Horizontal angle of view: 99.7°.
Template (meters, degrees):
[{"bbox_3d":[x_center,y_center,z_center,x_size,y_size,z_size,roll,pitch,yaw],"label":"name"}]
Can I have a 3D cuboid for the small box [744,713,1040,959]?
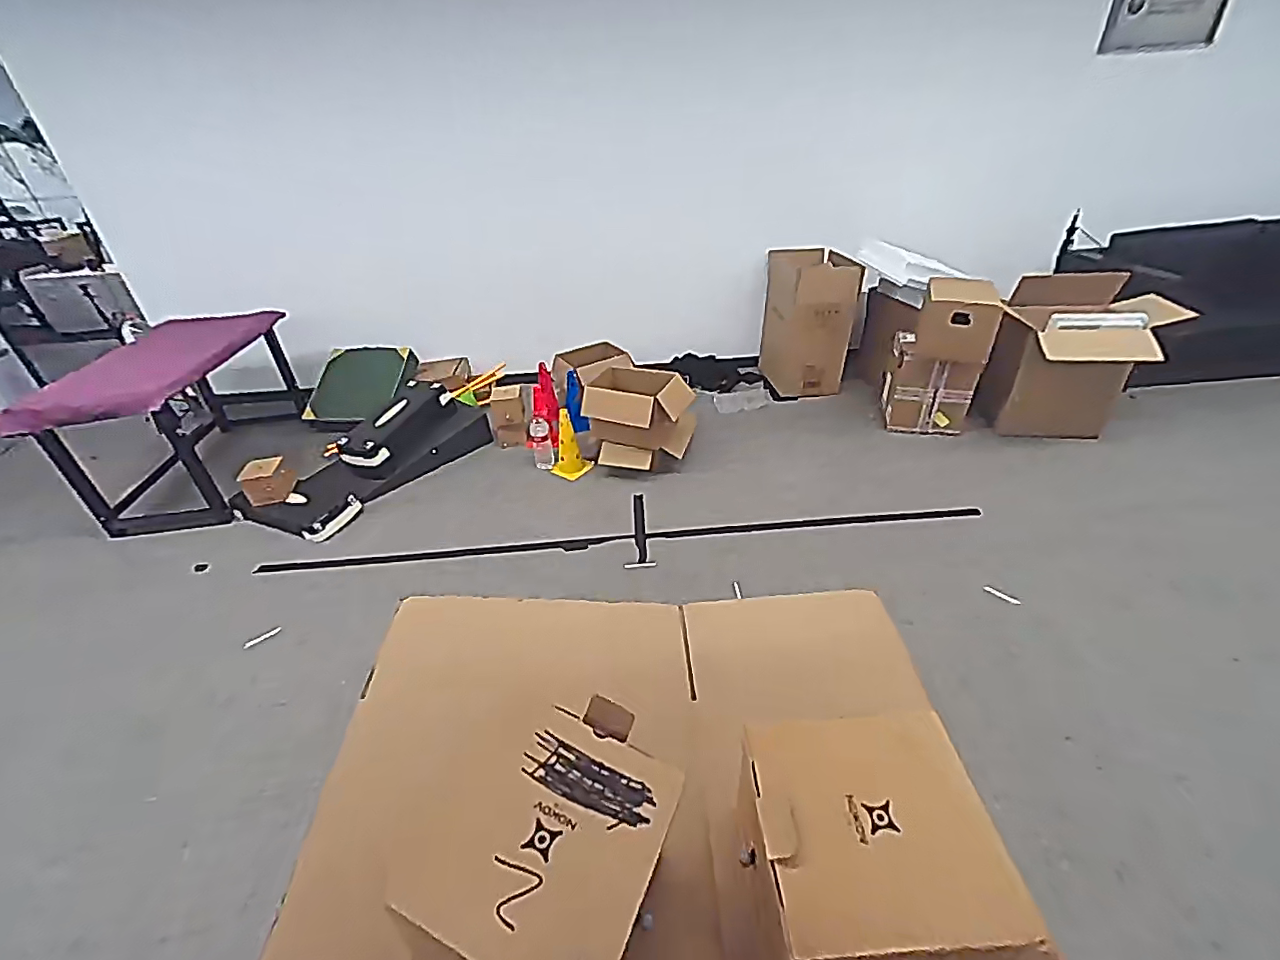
[{"bbox_3d":[0.197,0.336,0.488,0.179,0.176,0.168,-6,37,0],"label":"small box"}]
